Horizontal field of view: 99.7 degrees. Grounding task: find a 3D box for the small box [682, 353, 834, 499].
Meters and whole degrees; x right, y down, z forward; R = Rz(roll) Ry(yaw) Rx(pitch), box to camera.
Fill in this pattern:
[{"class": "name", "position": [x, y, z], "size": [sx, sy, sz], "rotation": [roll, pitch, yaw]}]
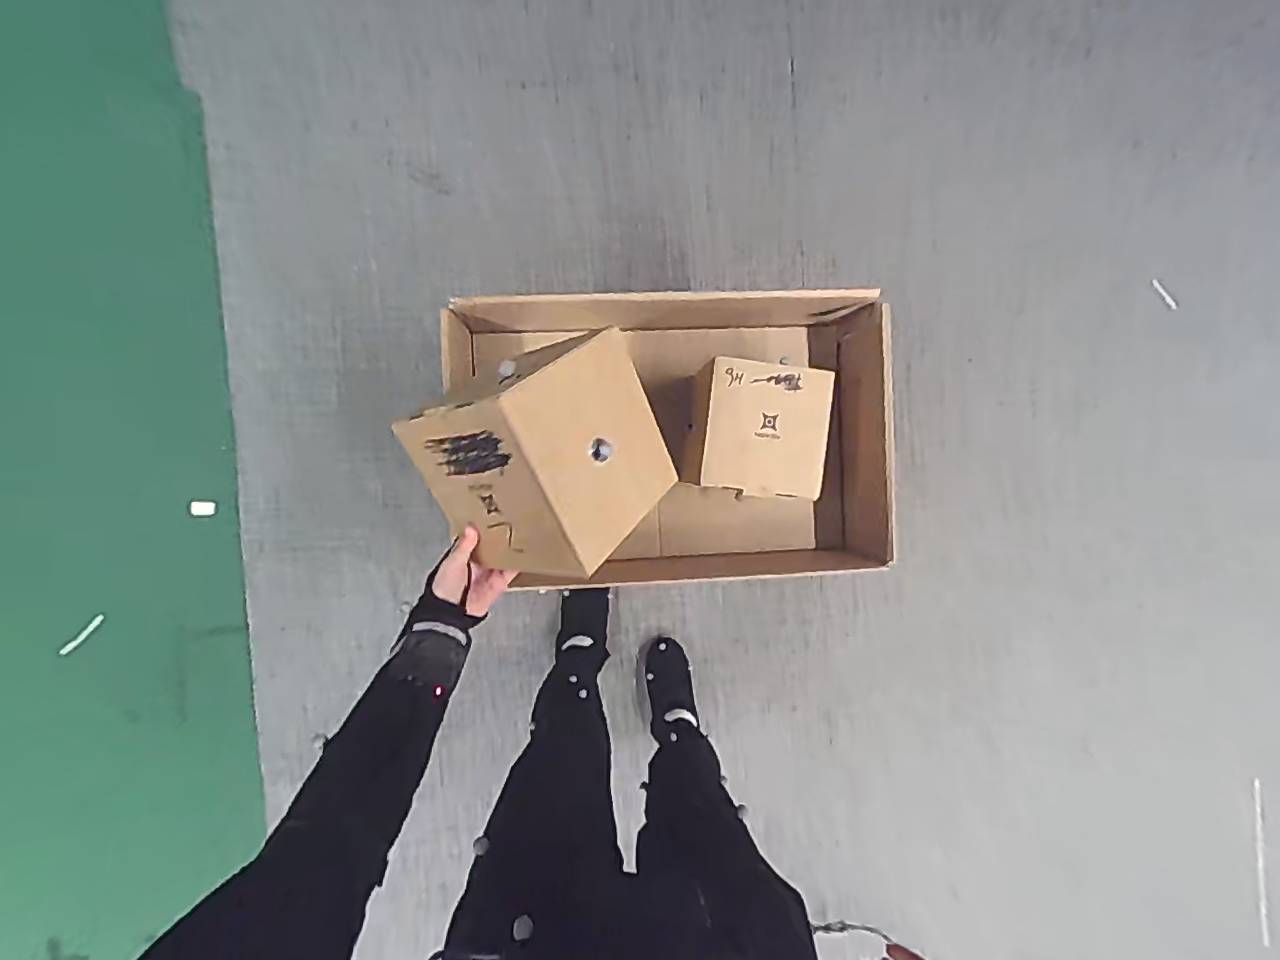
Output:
[{"class": "small box", "position": [0.161, -0.074, 0.794], "size": [0.168, 0.176, 0.179], "rotation": [7, 92, -5]}]
